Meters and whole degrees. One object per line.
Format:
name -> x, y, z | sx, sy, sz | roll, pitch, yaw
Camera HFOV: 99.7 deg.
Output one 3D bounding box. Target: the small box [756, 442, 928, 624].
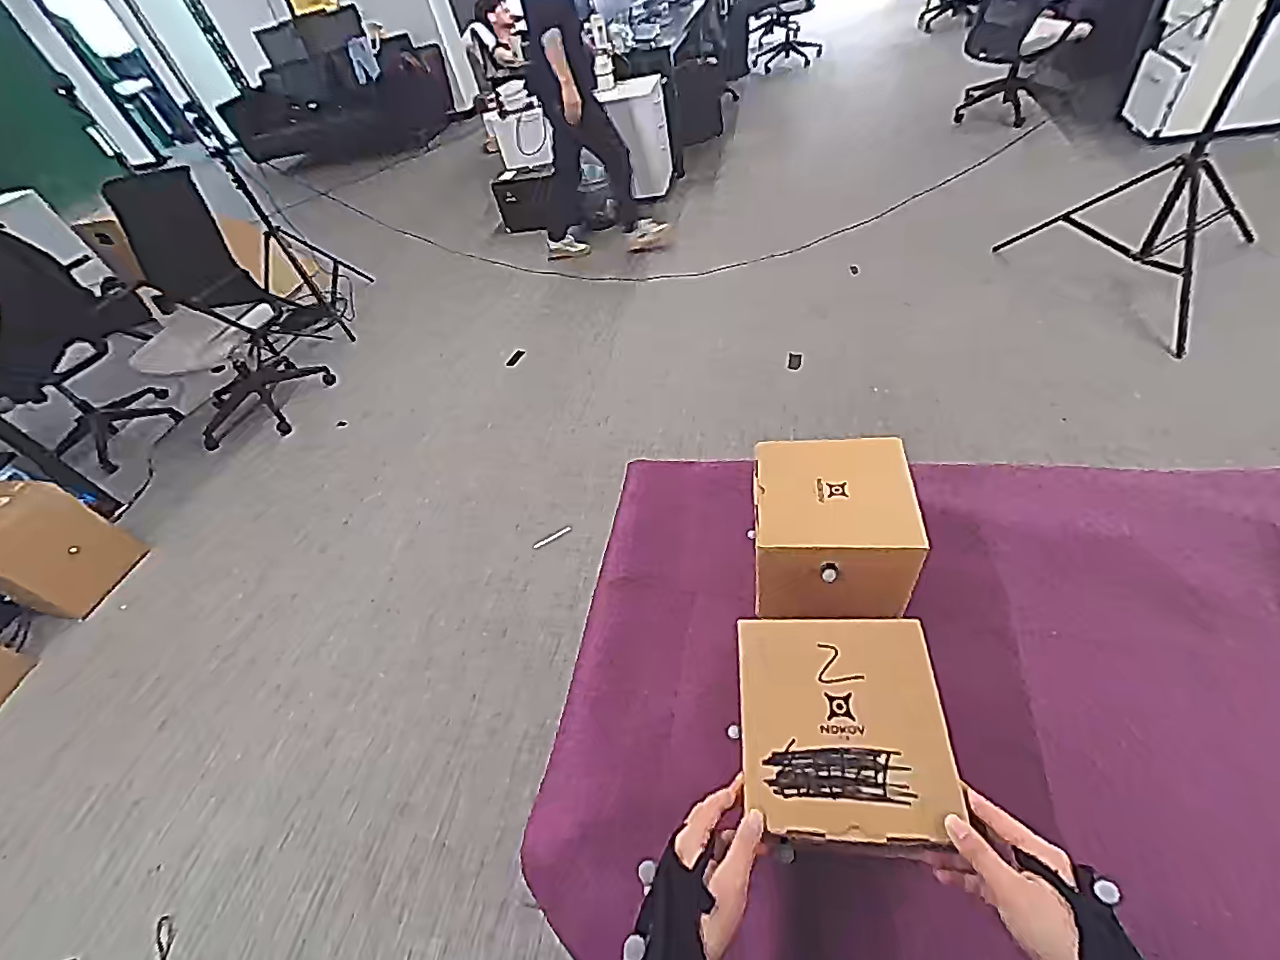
small box -> 0.237, 0.069, 0.685 | 0.179, 0.176, 0.168 | -1, 48, 13
